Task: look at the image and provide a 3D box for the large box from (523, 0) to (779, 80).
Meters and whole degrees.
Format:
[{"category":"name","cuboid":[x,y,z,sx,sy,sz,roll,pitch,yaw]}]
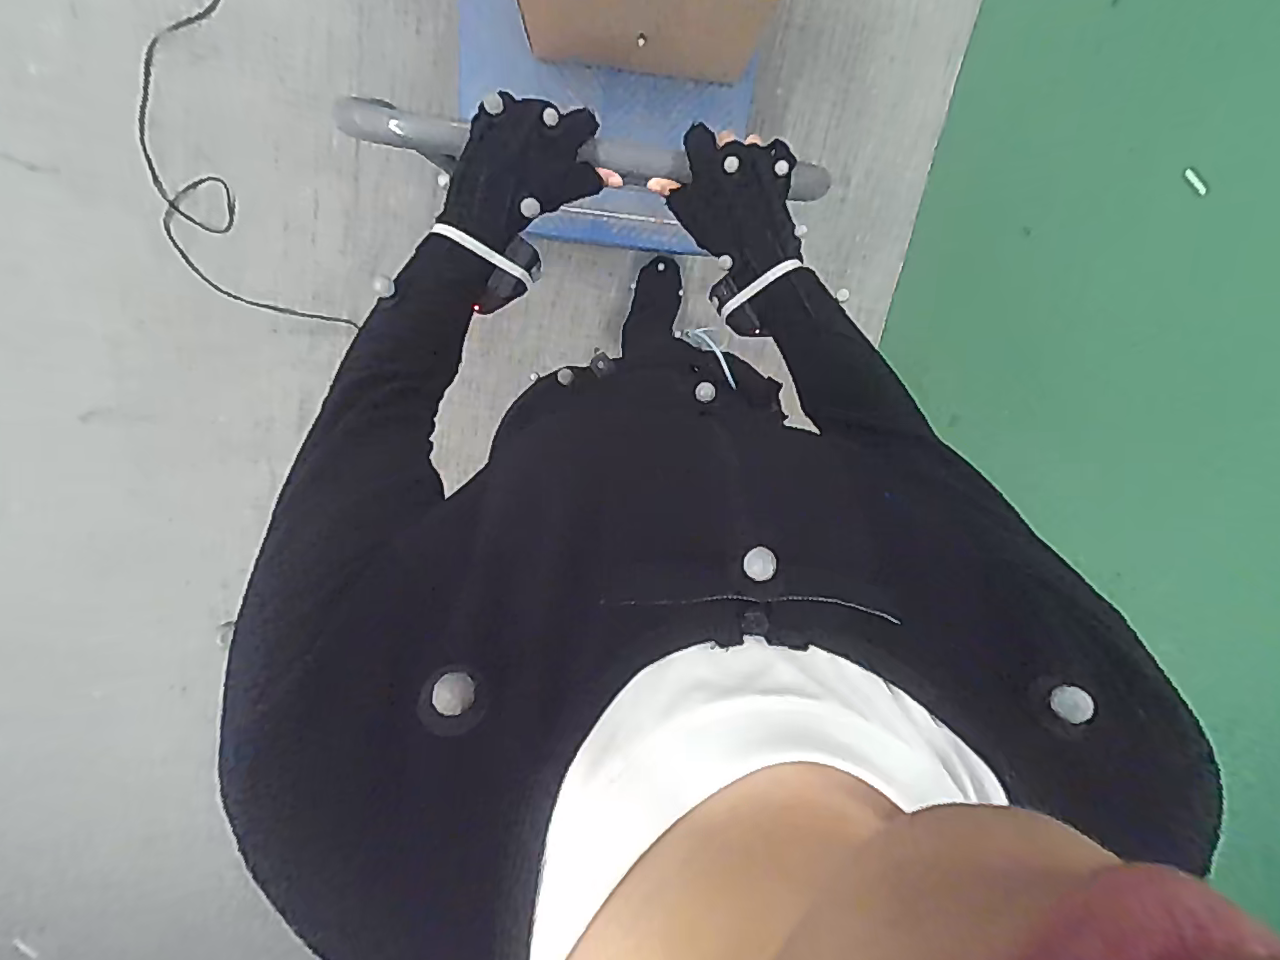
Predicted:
[{"category":"large box","cuboid":[0.020,-0.912,0.891,0.408,0.320,0.320,4,105,-3]}]
